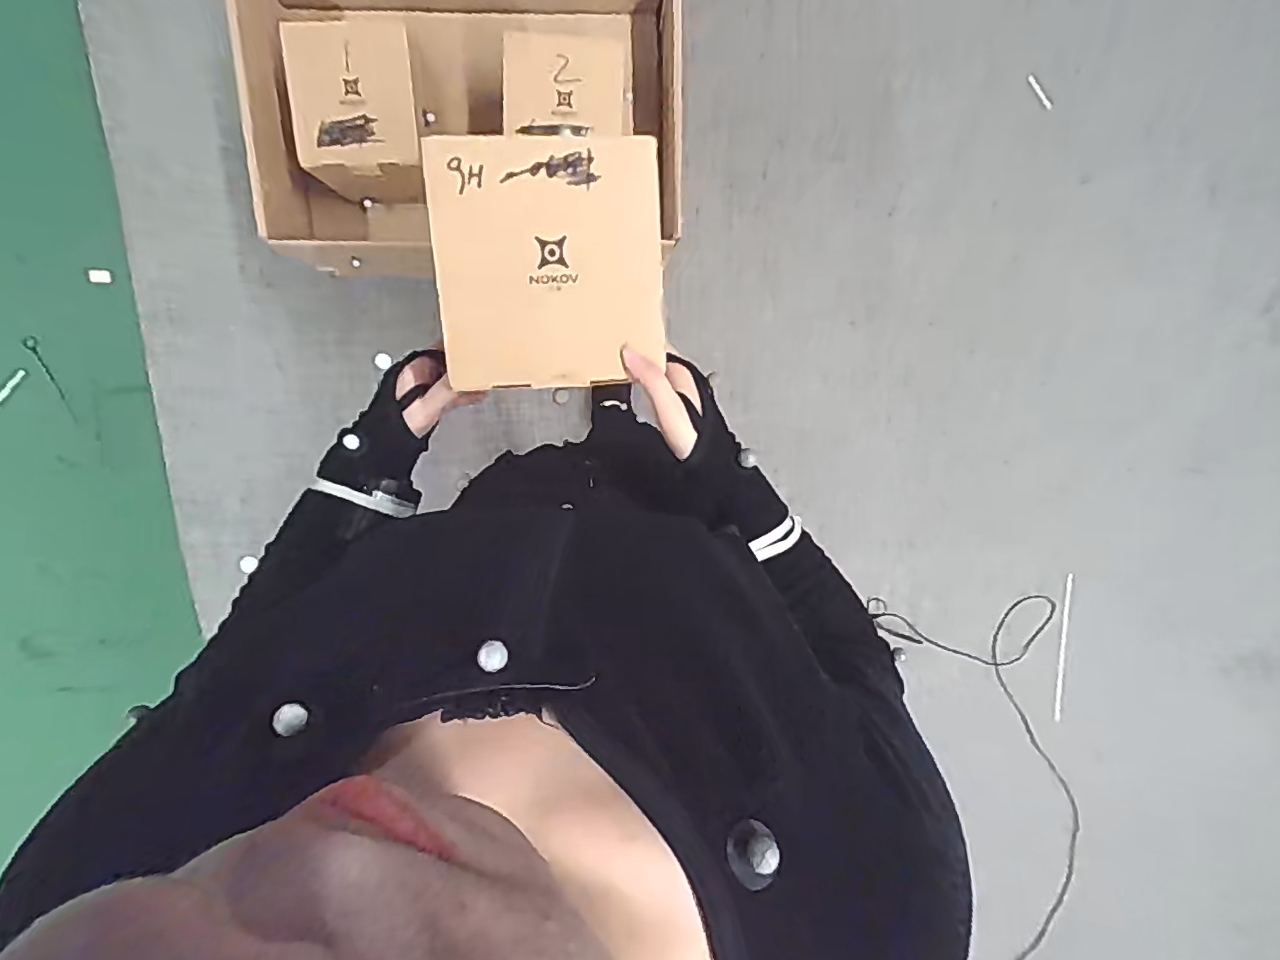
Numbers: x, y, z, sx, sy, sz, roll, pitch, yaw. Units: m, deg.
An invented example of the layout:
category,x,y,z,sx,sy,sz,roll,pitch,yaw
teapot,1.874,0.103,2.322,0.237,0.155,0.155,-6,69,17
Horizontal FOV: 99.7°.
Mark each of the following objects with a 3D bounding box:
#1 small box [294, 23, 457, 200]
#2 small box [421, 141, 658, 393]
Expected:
category,x,y,z,sx,sy,sz,roll,pitch,yaw
small box,-0.380,-0.538,0.817,0.168,0.176,0.179,-3,100,-2
small box,-0.078,-0.172,0.482,0.168,0.176,0.179,-5,100,-6
